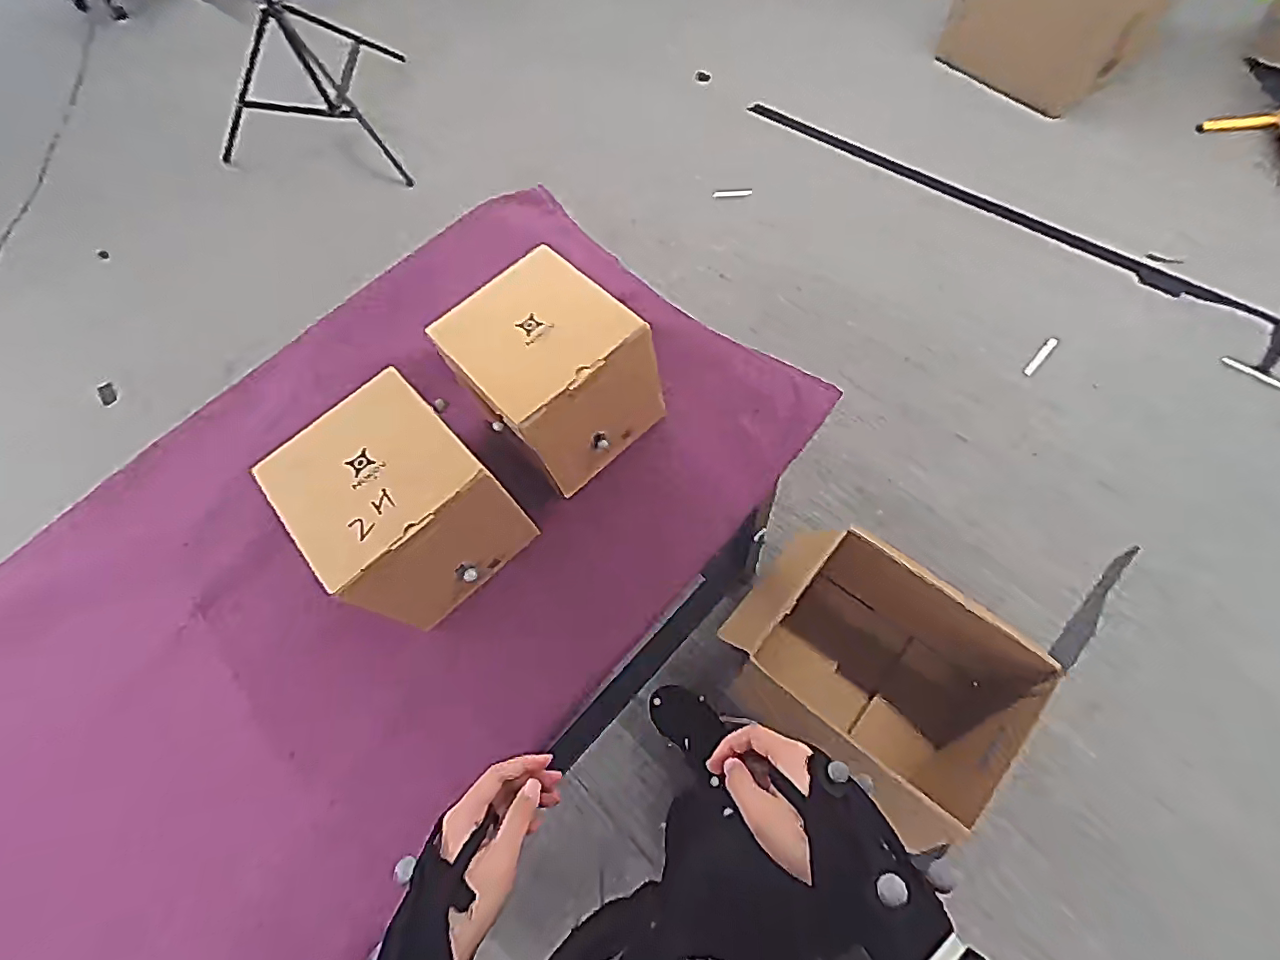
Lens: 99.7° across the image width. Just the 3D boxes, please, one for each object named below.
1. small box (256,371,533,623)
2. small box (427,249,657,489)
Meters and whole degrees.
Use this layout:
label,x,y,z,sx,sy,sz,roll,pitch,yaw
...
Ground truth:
label,x,y,z,sx,sy,sz,roll,pitch,yaw
small box,-0.244,0.027,0.574,0.168,0.176,0.179,-42,66,-12
small box,-0.101,-0.119,0.623,0.168,0.176,0.179,-42,66,-12
